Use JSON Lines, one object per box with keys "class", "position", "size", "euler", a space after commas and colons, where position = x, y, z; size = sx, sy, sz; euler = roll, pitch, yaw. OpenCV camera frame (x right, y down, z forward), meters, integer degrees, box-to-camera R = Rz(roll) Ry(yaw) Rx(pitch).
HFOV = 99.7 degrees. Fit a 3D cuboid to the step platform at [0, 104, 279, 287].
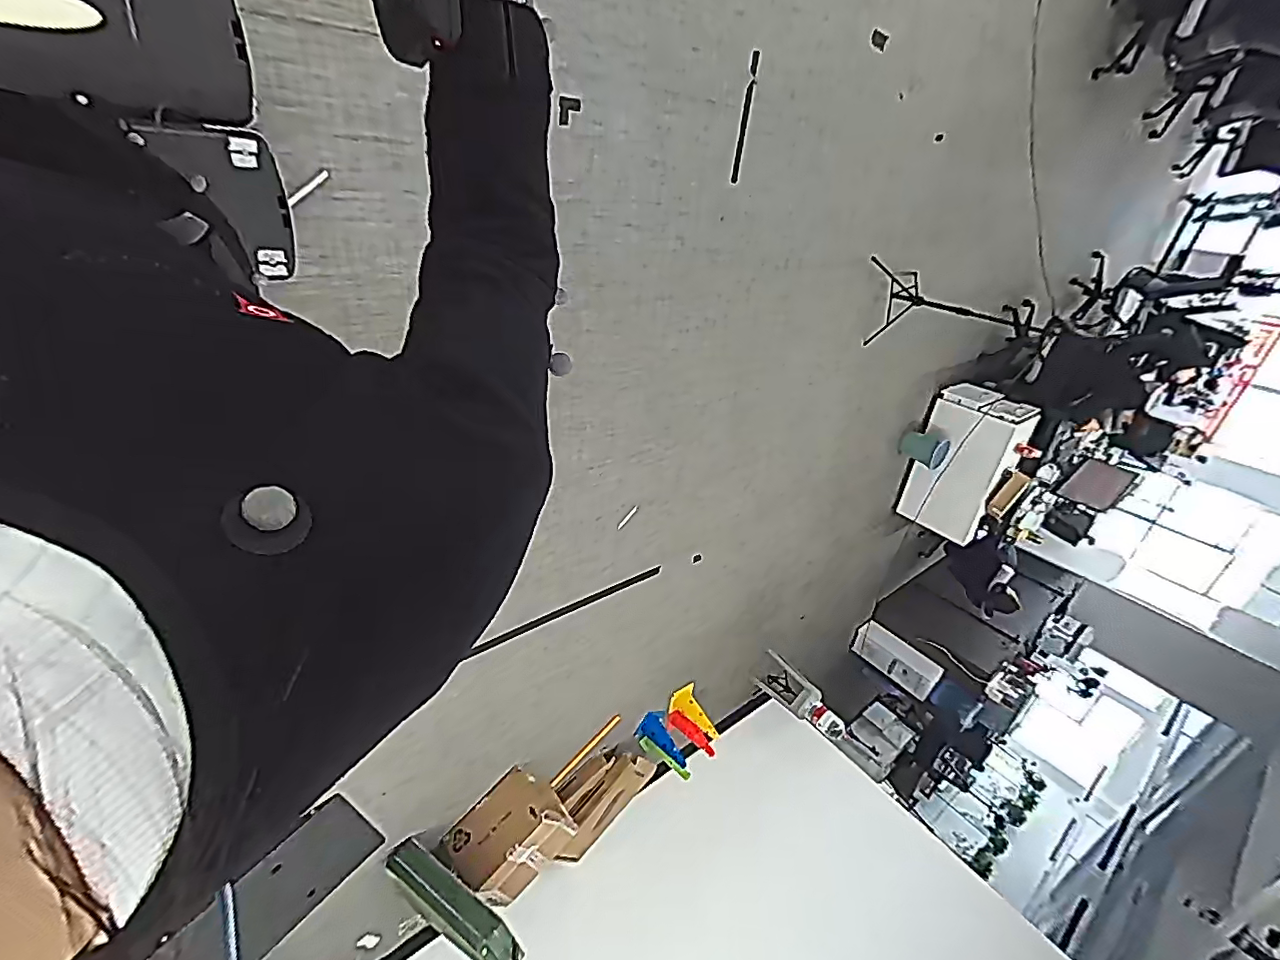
{"class": "step platform", "position": [-1.076, -0.517, 0.992], "size": [0.684, 0.204, 0.286], "euler": [-16, 126, -32]}
